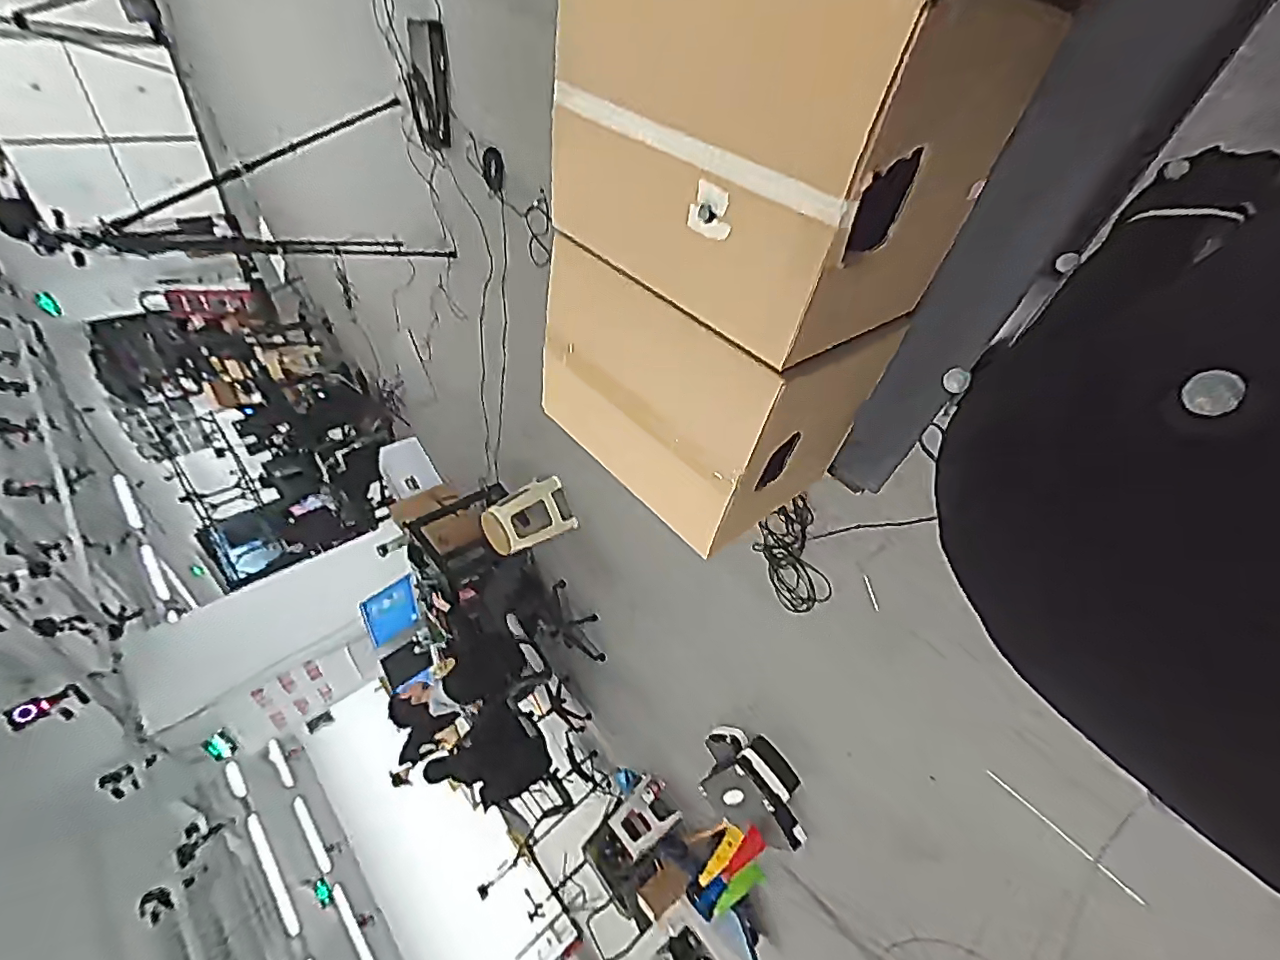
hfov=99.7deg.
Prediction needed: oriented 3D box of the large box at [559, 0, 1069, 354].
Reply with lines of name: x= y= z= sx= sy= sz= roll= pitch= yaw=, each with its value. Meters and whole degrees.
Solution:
large box: x=0.154 y=-0.405 z=0.626 sx=0.408 sy=0.320 sz=0.320 roll=41 pitch=141 yaw=27
